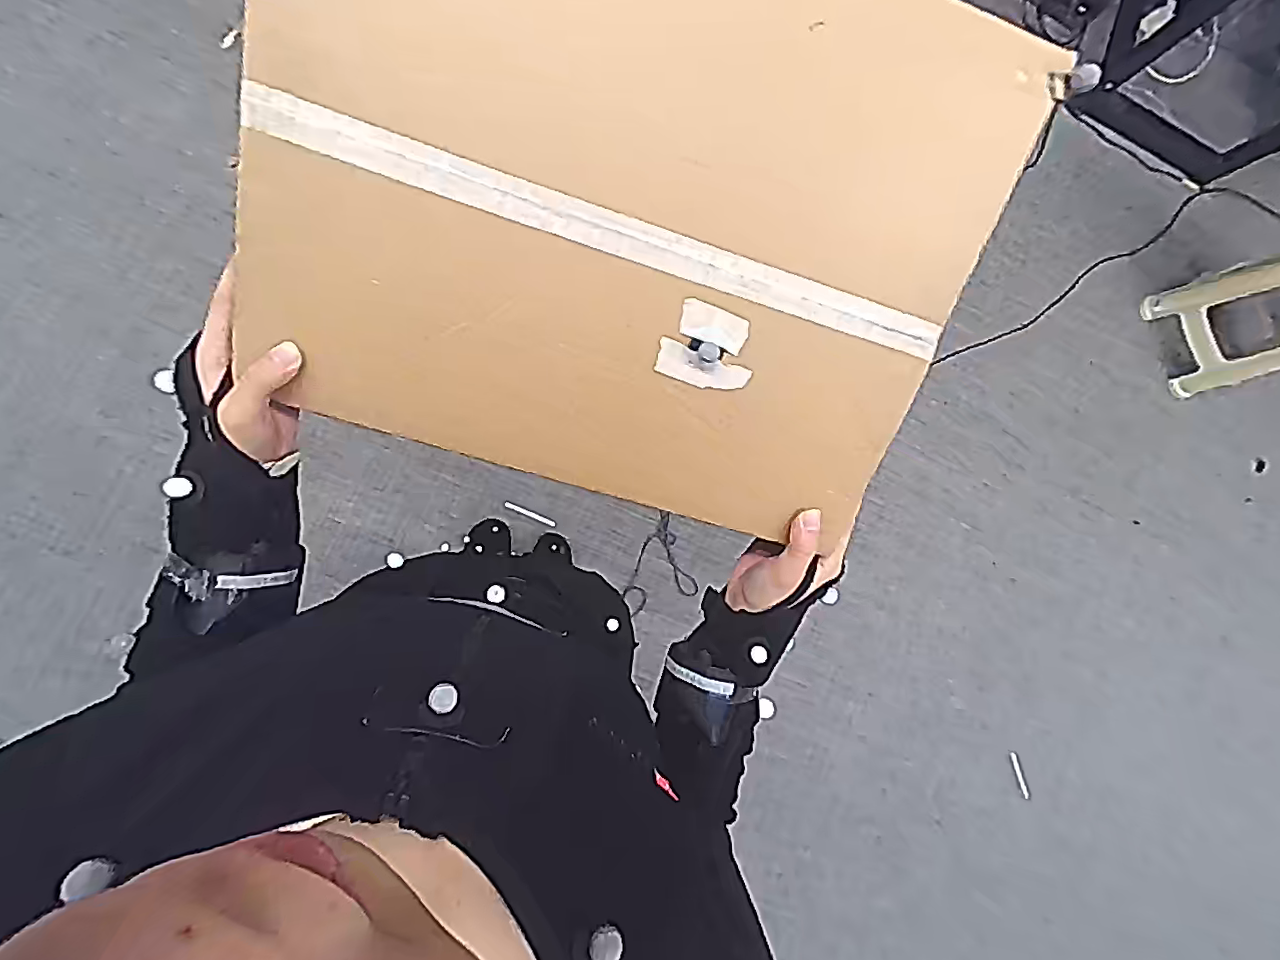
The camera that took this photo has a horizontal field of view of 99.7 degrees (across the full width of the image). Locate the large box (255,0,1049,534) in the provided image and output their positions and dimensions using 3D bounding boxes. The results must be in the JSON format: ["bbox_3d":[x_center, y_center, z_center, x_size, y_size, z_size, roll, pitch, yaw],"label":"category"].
[{"bbox_3d":[-0.016,-0.196,0.453,0.408,0.320,0.320,15,110,-9],"label":"large box"}]
